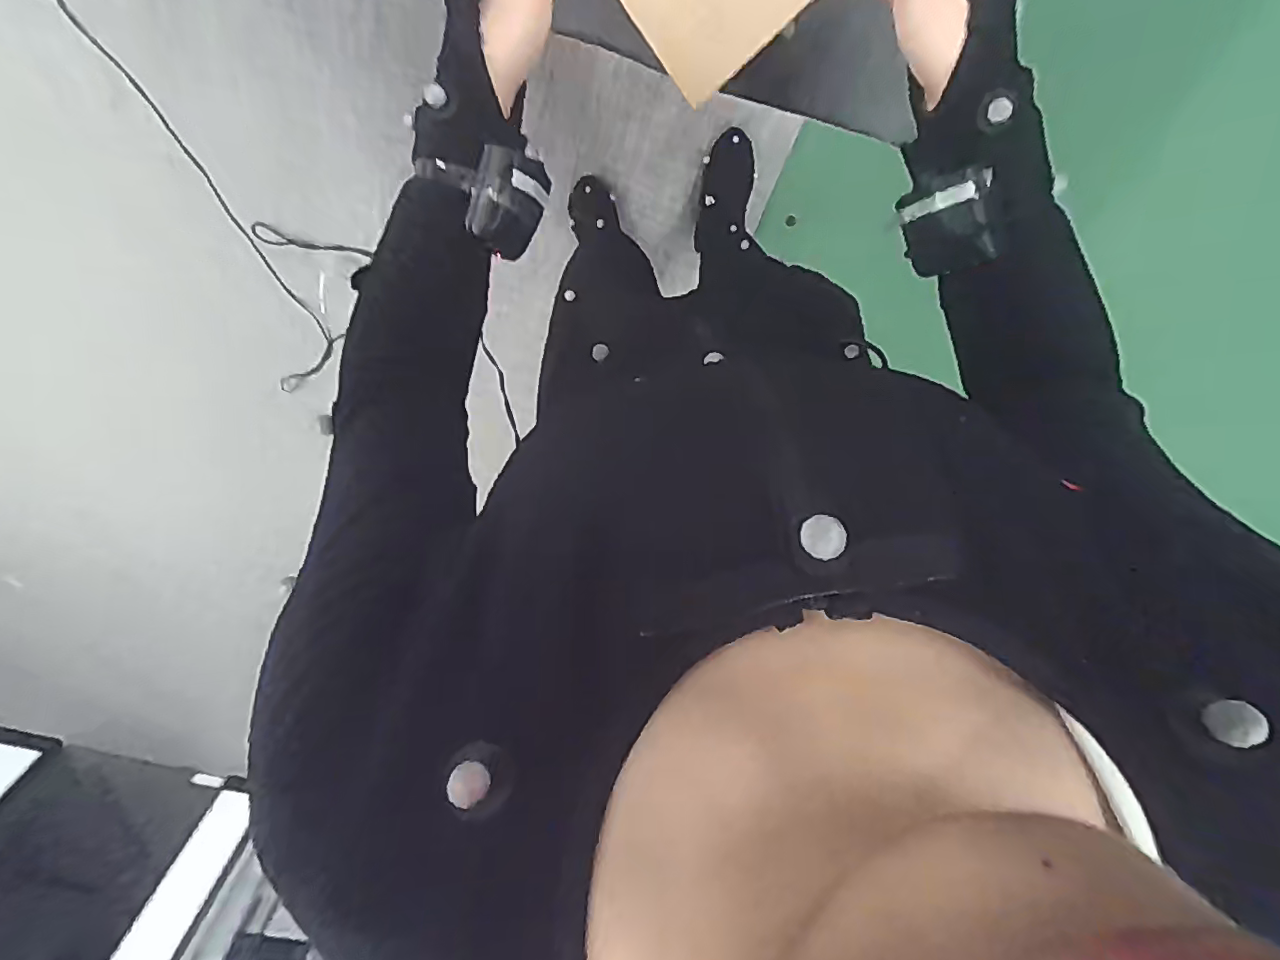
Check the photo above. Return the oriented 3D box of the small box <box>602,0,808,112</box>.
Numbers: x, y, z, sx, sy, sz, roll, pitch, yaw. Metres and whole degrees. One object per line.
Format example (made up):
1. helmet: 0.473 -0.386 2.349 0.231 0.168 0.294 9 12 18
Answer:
1. small box: 0.049 -0.402 0.357 0.179 0.176 0.168 -28 131 33
